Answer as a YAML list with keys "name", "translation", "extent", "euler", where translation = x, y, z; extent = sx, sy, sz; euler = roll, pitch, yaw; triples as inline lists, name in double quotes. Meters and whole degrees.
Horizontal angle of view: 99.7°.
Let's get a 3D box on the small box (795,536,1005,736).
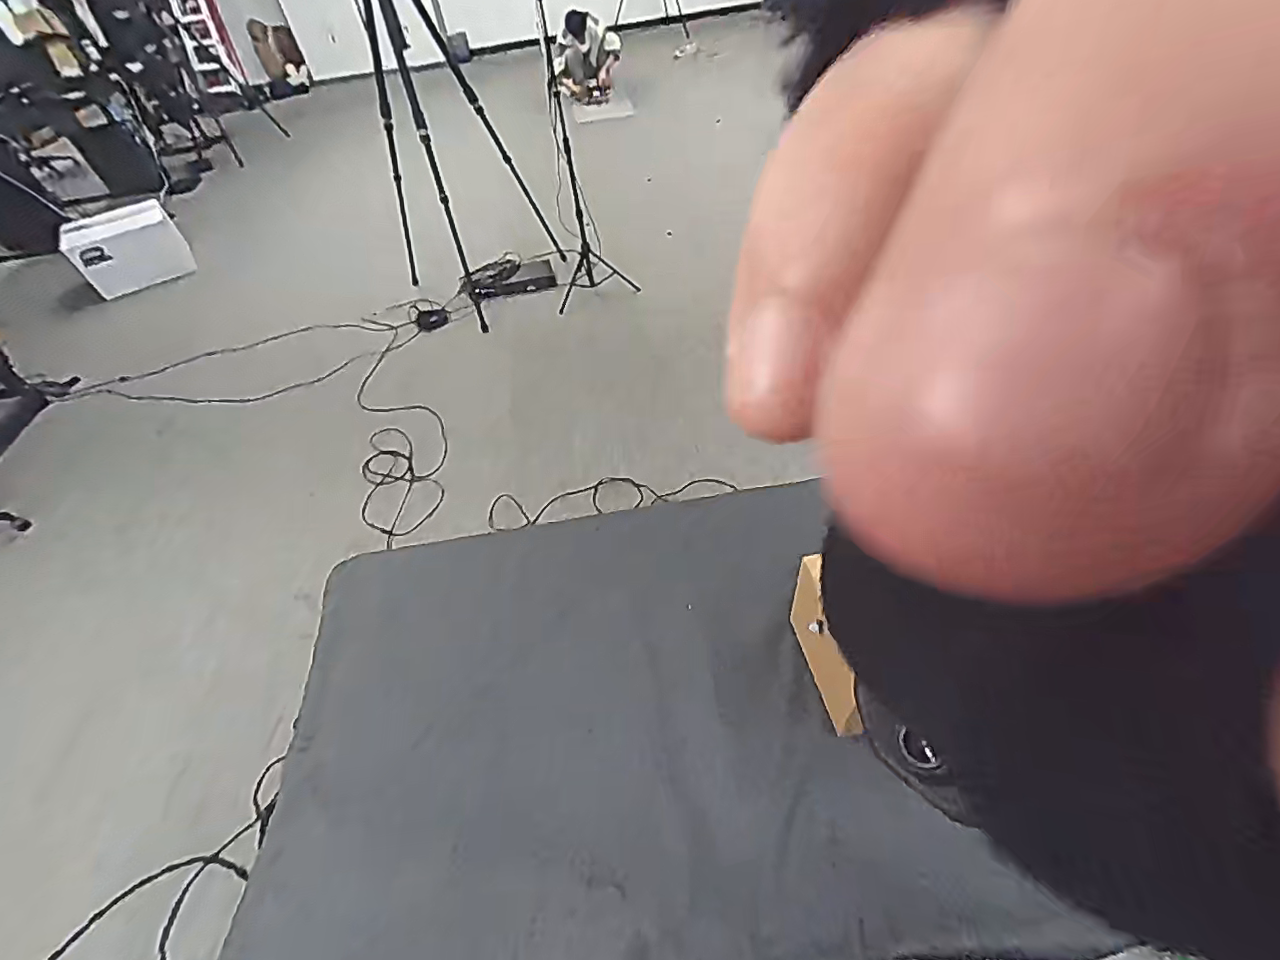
- name: "small box"
  translation: [0.311, 0.202, 0.697]
  extent: [0.168, 0.176, 0.179]
  euler: [-11, 48, -1]
